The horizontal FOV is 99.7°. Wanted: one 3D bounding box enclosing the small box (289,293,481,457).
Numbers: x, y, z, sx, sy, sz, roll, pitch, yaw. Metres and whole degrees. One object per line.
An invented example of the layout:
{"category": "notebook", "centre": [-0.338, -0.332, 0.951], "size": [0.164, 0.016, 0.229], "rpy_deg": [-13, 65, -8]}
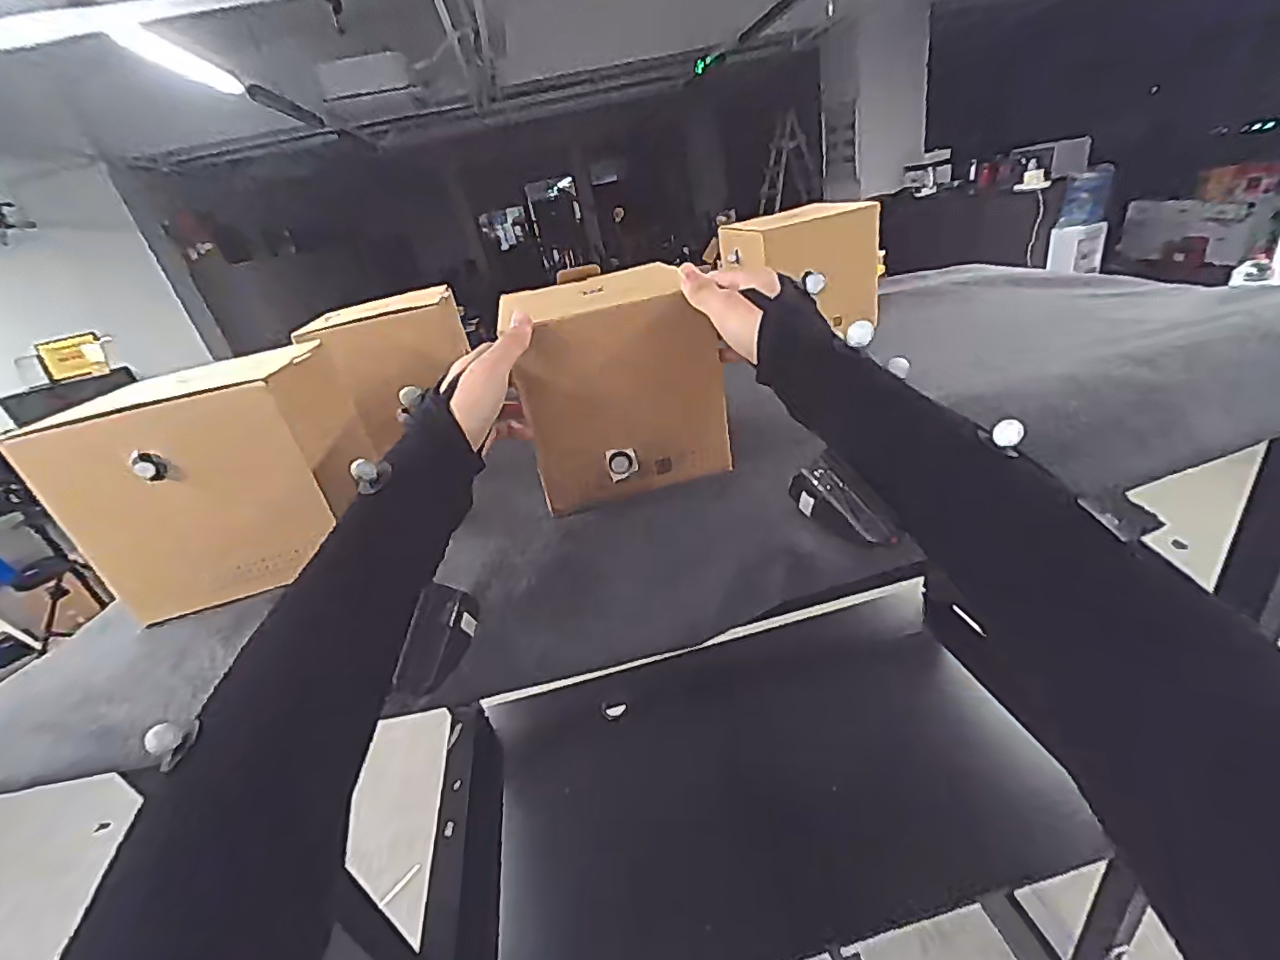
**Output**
{"category": "small box", "centre": [-0.327, -0.145, 0.741], "size": [0.179, 0.176, 0.168], "rpy_deg": [-15, 27, -7]}

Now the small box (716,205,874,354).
{"category": "small box", "centre": [0.227, -0.296, 0.801], "size": [0.168, 0.176, 0.179], "rpy_deg": [-16, 28, -5]}

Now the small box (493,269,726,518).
{"category": "small box", "centre": [-0.029, -0.088, 0.505], "size": [0.168, 0.176, 0.179], "rpy_deg": [-15, 28, -6]}

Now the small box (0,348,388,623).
{"category": "small box", "centre": [-0.354, -0.002, 0.478], "size": [0.179, 0.176, 0.168], "rpy_deg": [-16, 27, -8]}
